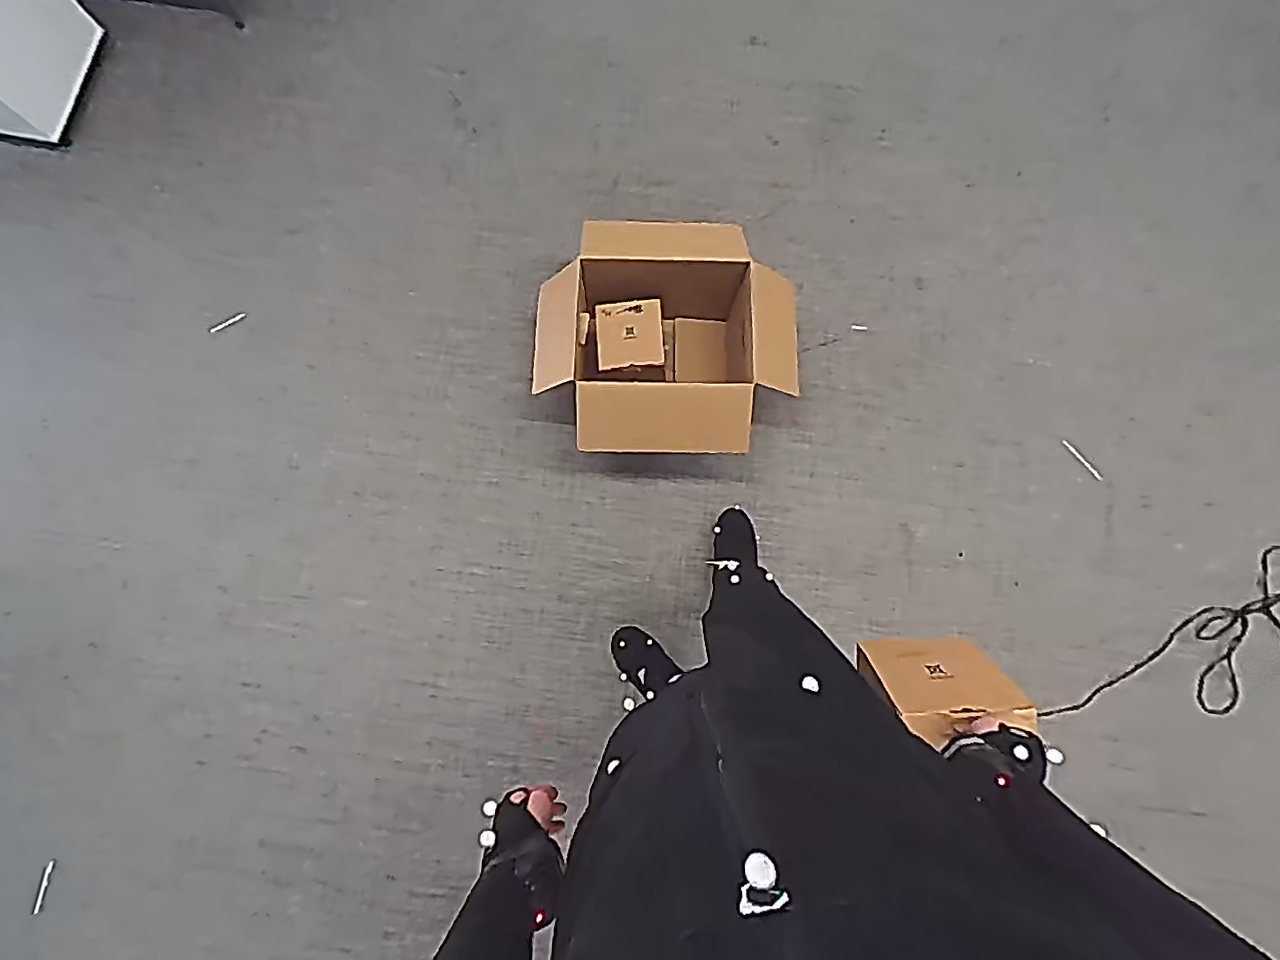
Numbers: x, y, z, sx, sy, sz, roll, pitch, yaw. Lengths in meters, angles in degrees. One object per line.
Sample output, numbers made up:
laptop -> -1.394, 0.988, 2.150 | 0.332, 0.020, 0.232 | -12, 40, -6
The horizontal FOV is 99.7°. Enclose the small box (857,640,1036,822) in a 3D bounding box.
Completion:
small box -> 0.414, 0.345, 0.757 | 0.168, 0.179, 0.176 | -3, 102, 6
